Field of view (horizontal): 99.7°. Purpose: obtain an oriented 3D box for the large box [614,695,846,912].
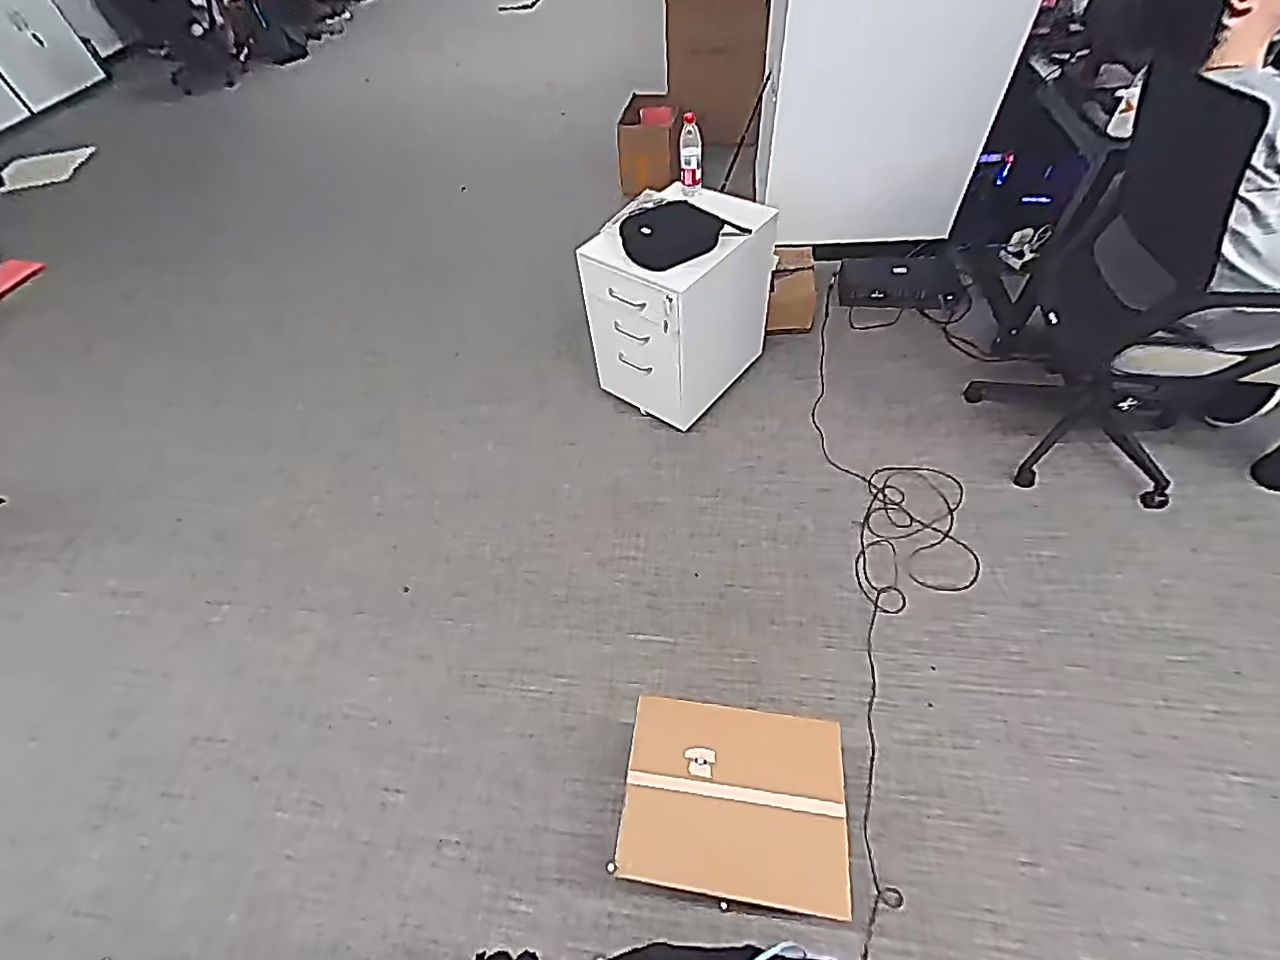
[{"bbox_3d":[0.185,0.673,1.135,0.408,0.320,0.320,4,53,9],"label":"large box"}]
